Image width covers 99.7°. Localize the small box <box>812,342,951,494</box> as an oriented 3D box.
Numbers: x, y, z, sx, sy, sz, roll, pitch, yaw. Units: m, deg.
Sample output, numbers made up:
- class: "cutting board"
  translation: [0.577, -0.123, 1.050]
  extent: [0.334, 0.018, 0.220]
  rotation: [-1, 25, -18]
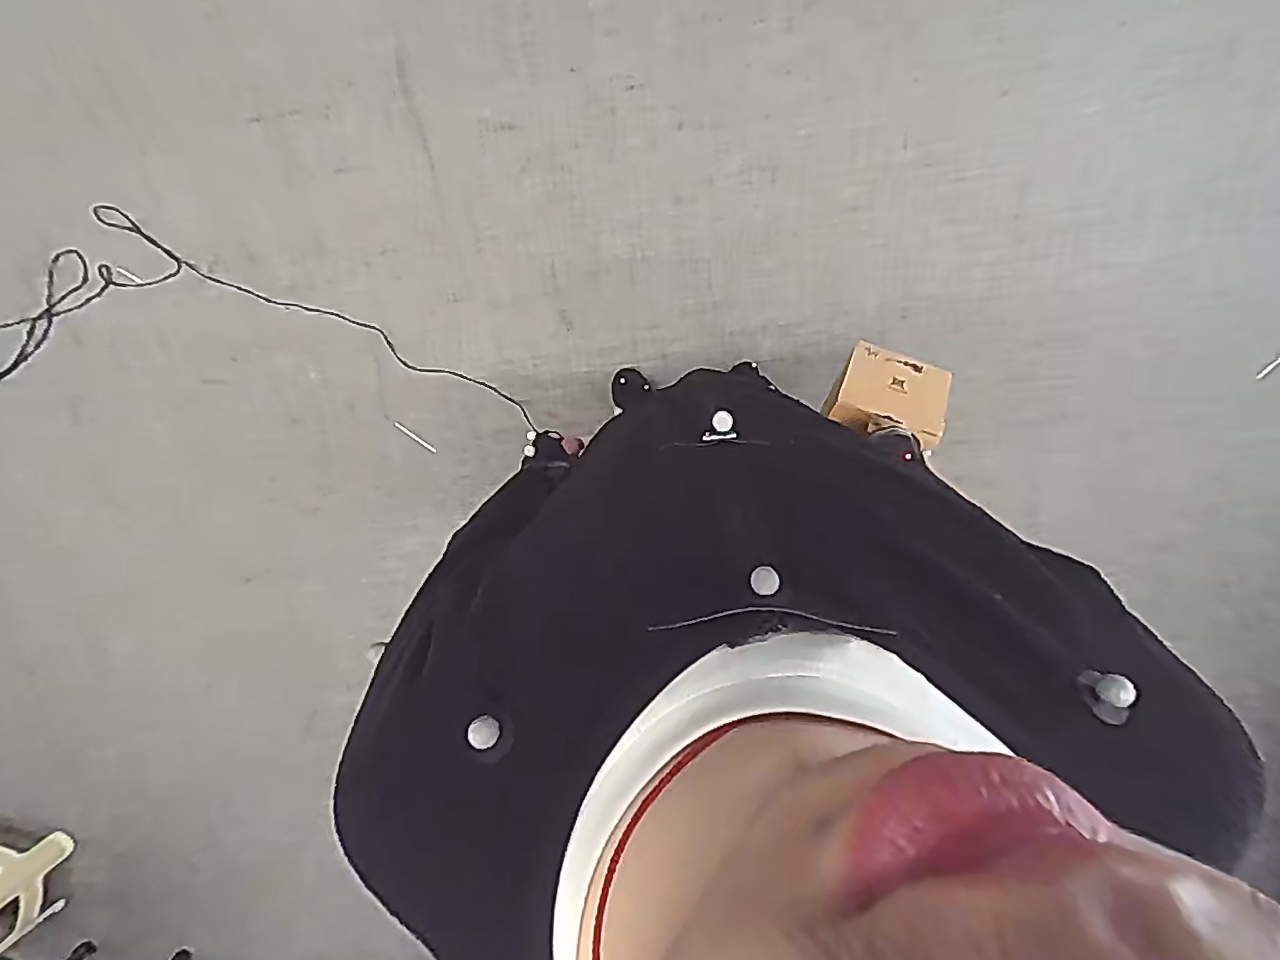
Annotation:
- class: "small box"
  translation: [0.413, -0.105, 0.943]
  extent: [0.168, 0.179, 0.176]
  rotation: [20, 144, 11]
